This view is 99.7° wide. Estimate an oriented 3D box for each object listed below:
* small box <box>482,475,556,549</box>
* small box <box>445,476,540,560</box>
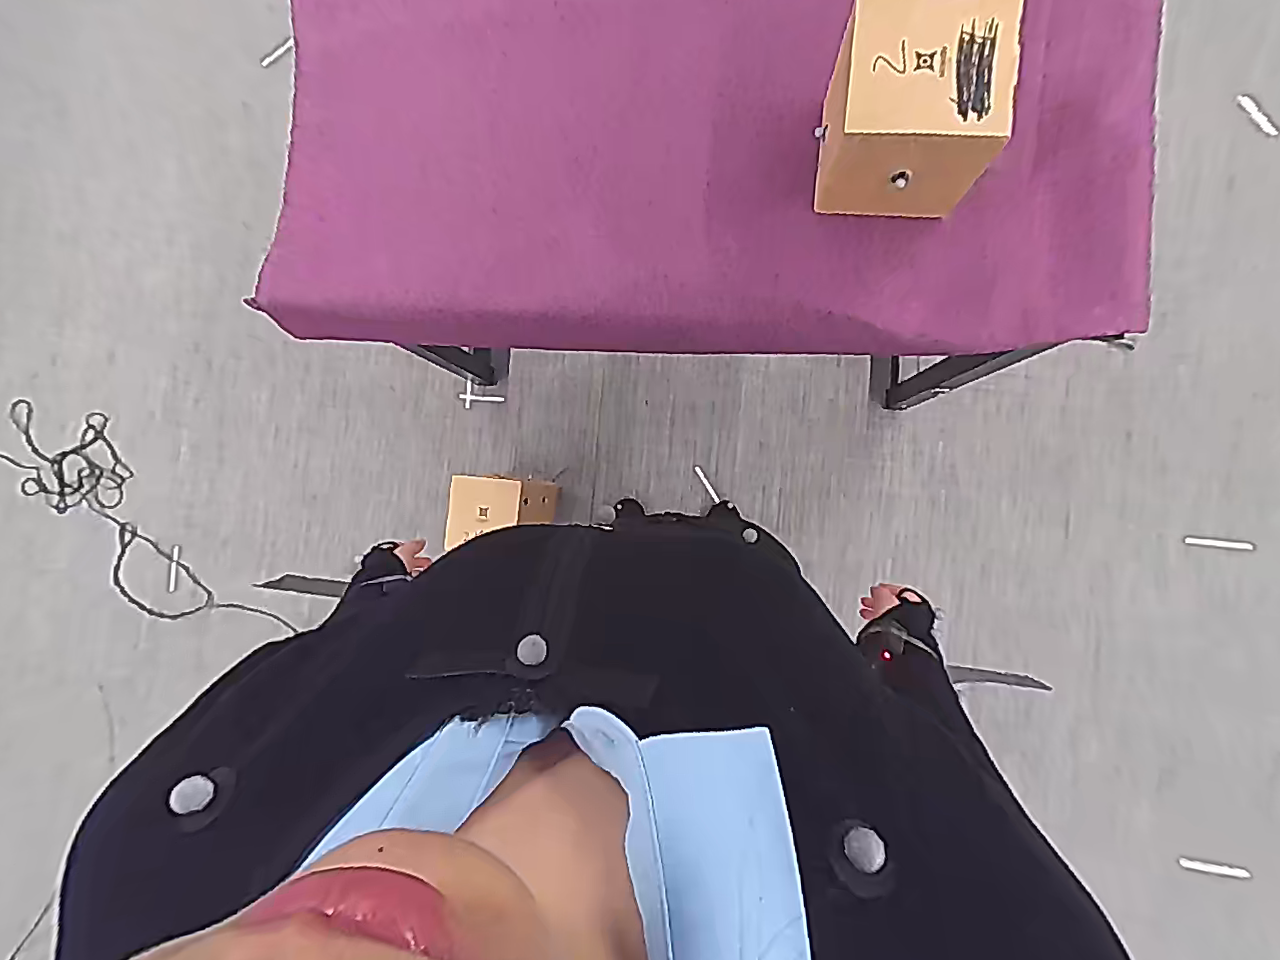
[{"bbox_3d":[-0.335,0.090,1.456,0.168,0.176,0.179,11,89,6],"label":"small box"},{"bbox_3d":[-0.344,0.088,1.290,0.168,0.176,0.179,5,89,6],"label":"small box"}]
